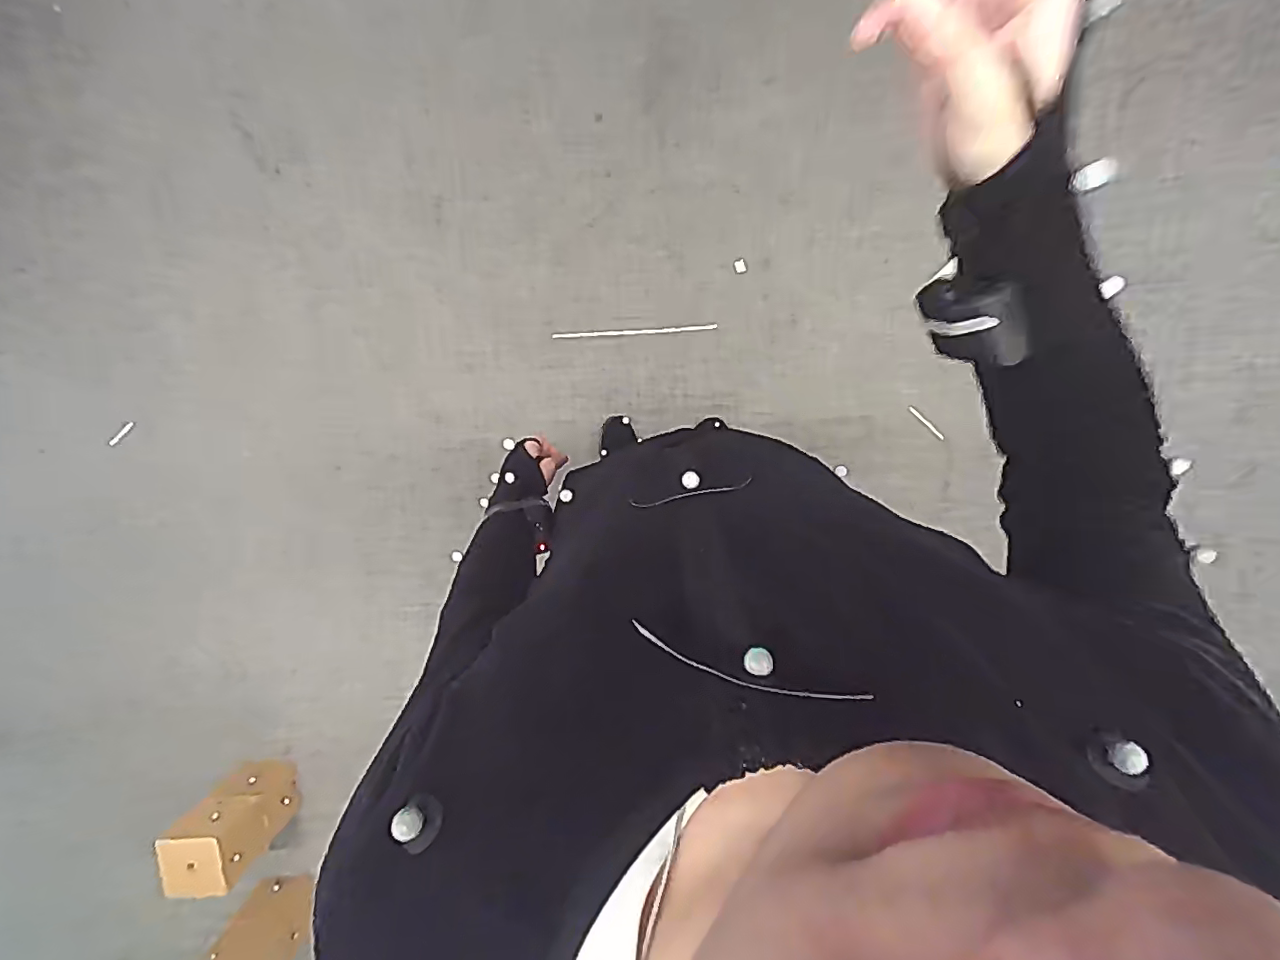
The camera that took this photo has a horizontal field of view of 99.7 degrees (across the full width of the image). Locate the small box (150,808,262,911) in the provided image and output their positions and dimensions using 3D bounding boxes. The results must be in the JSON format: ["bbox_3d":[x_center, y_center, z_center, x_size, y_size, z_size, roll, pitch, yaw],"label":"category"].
[{"bbox_3d":[-1.185,1.034,1.489,0.168,0.176,0.179,-3,97,0],"label":"small box"}]

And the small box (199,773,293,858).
[{"bbox_3d":[-1.192,1.021,1.651,0.179,0.176,0.168,-1,95,-1],"label":"small box"}]

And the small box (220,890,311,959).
[{"bbox_3d":[-1.162,1.435,1.693,0.168,0.176,0.179,-3,96,0],"label":"small box"}]
